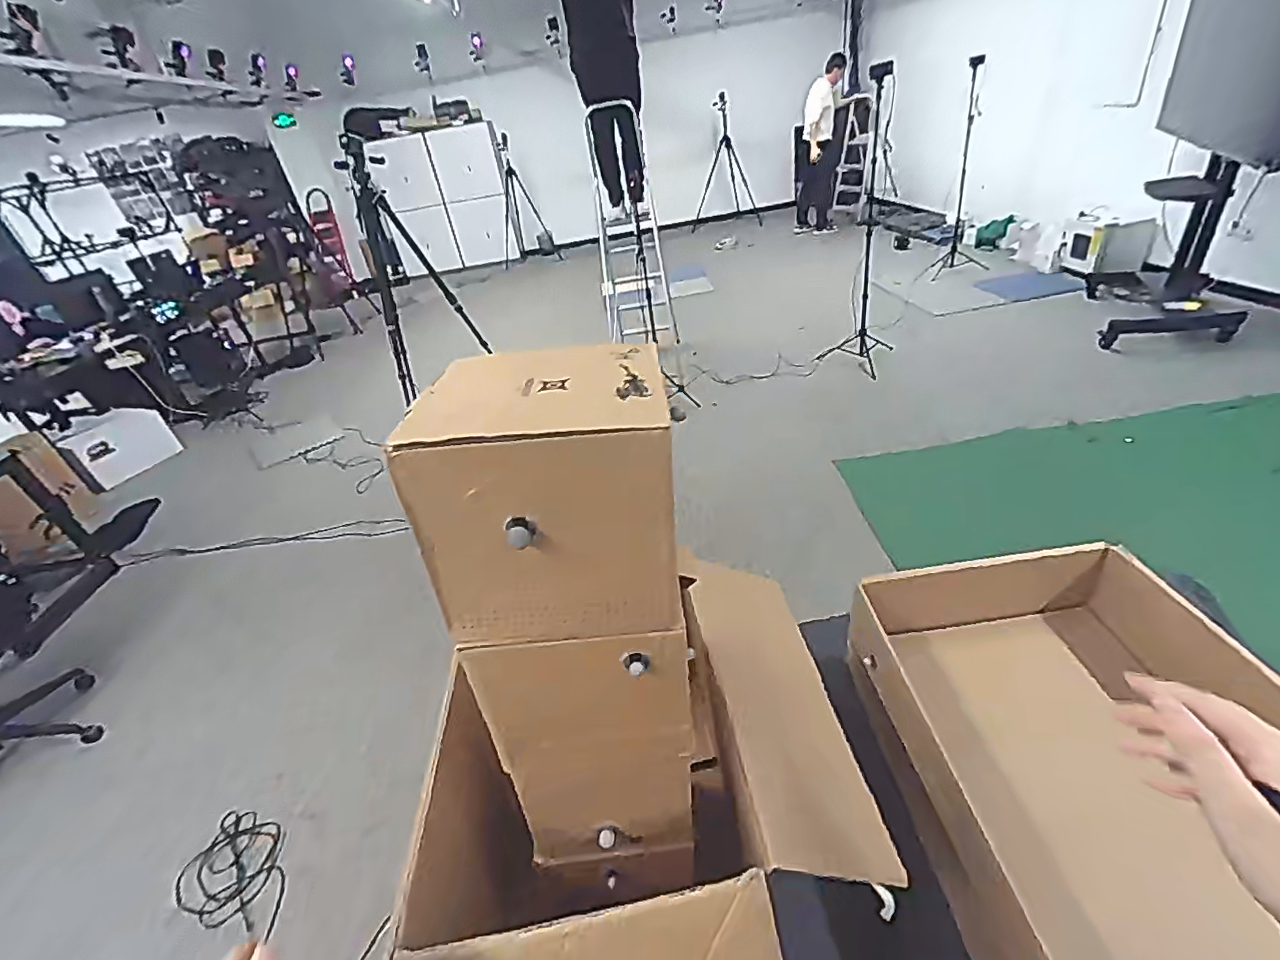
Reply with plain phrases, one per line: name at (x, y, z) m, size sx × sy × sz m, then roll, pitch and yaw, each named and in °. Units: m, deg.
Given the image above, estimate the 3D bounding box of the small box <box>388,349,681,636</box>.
small box at (-0.063, 0.007, 0.434) m, size 0.179 × 0.176 × 0.168 m, roll -4°, pitch 32°, yaw 1°

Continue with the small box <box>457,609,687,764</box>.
small box at (-0.052, 0.147, 0.519) m, size 0.179 × 0.176 × 0.168 m, roll -5°, pitch 32°, yaw -1°
